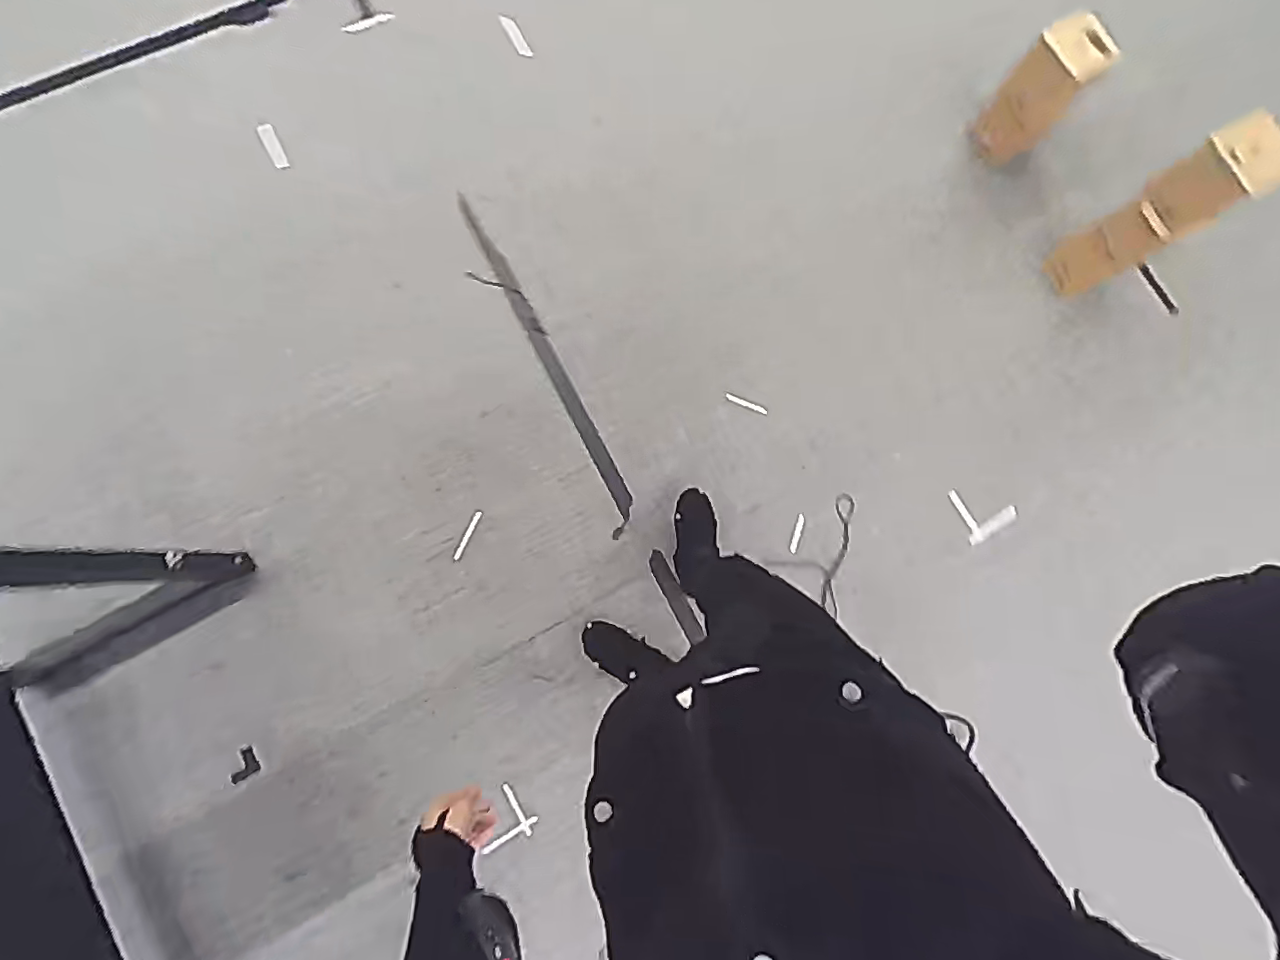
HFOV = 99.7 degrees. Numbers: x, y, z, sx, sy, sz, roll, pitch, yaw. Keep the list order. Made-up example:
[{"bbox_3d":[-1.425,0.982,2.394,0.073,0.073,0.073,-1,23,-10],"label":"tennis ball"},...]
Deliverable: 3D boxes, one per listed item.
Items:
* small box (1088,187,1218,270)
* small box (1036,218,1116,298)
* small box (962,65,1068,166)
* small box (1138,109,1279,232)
[{"bbox_3d":[1.389,-0.711,1.484,0.179,0.176,0.168,-27,85,-8],"label":"small box"},{"bbox_3d":[1.372,-0.691,1.646,0.179,0.176,0.168,-27,84,-8],"label":"small box"},{"bbox_3d":[1.171,-1.139,1.701,0.179,0.176,0.168,-31,84,-9],"label":"small box"},{"bbox_3d":[1.396,-0.749,1.323,0.179,0.176,0.168,-27,84,-9],"label":"small box"}]
